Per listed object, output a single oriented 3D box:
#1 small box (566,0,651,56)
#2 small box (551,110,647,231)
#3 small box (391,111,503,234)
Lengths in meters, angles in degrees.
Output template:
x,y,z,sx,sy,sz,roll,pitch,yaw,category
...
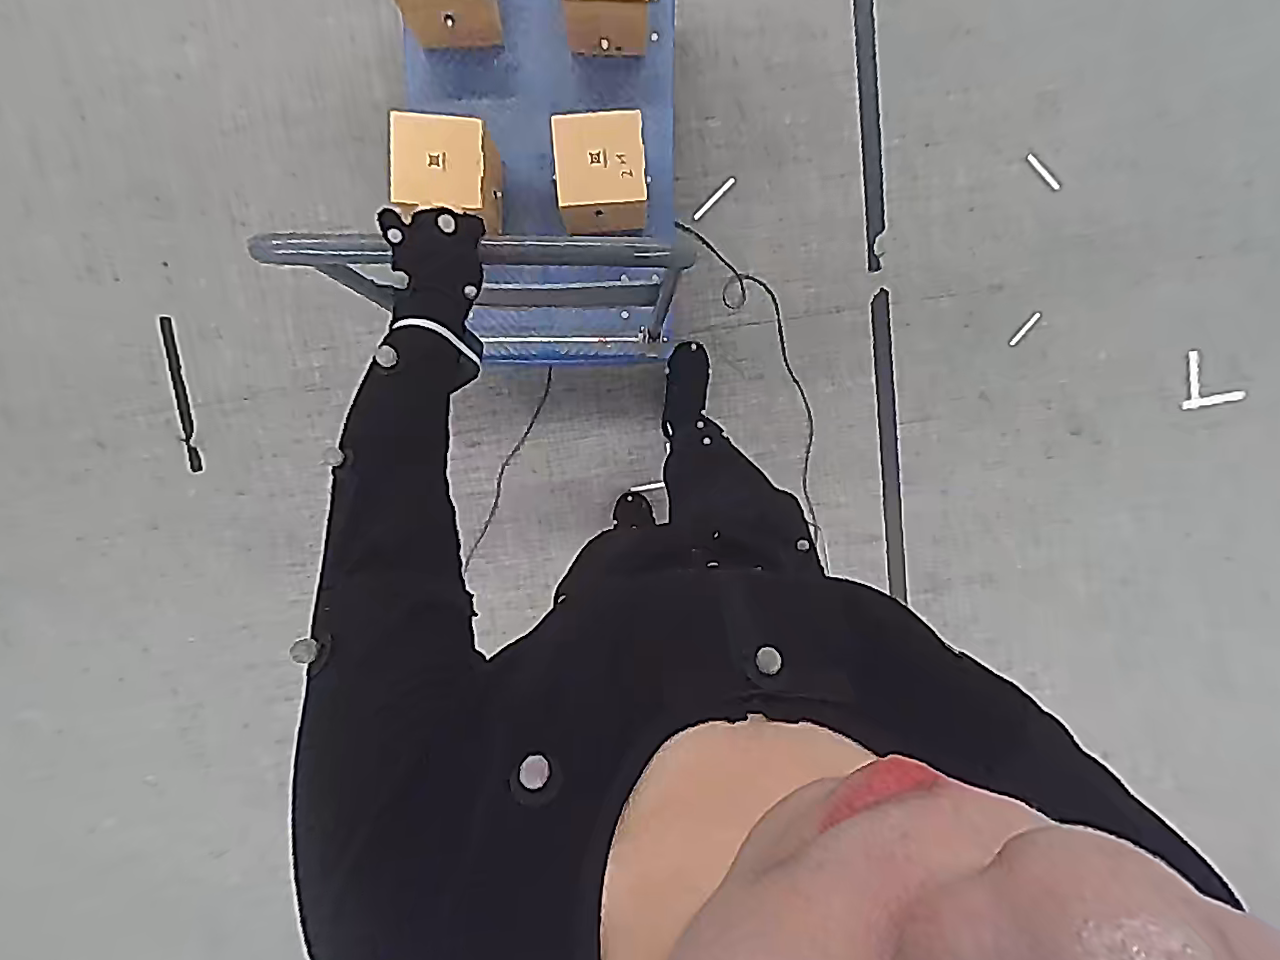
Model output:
x,y,z,sx,sy,sz,roll,pitch,yaw,category
-0.061,-0.986,1.063,0.168,0.176,0.179,1,99,-2,small box
-0.078,-0.626,1.113,0.179,0.176,0.168,-4,98,-1,small box
-0.387,-0.618,1.106,0.179,0.176,0.168,2,97,-4,small box
